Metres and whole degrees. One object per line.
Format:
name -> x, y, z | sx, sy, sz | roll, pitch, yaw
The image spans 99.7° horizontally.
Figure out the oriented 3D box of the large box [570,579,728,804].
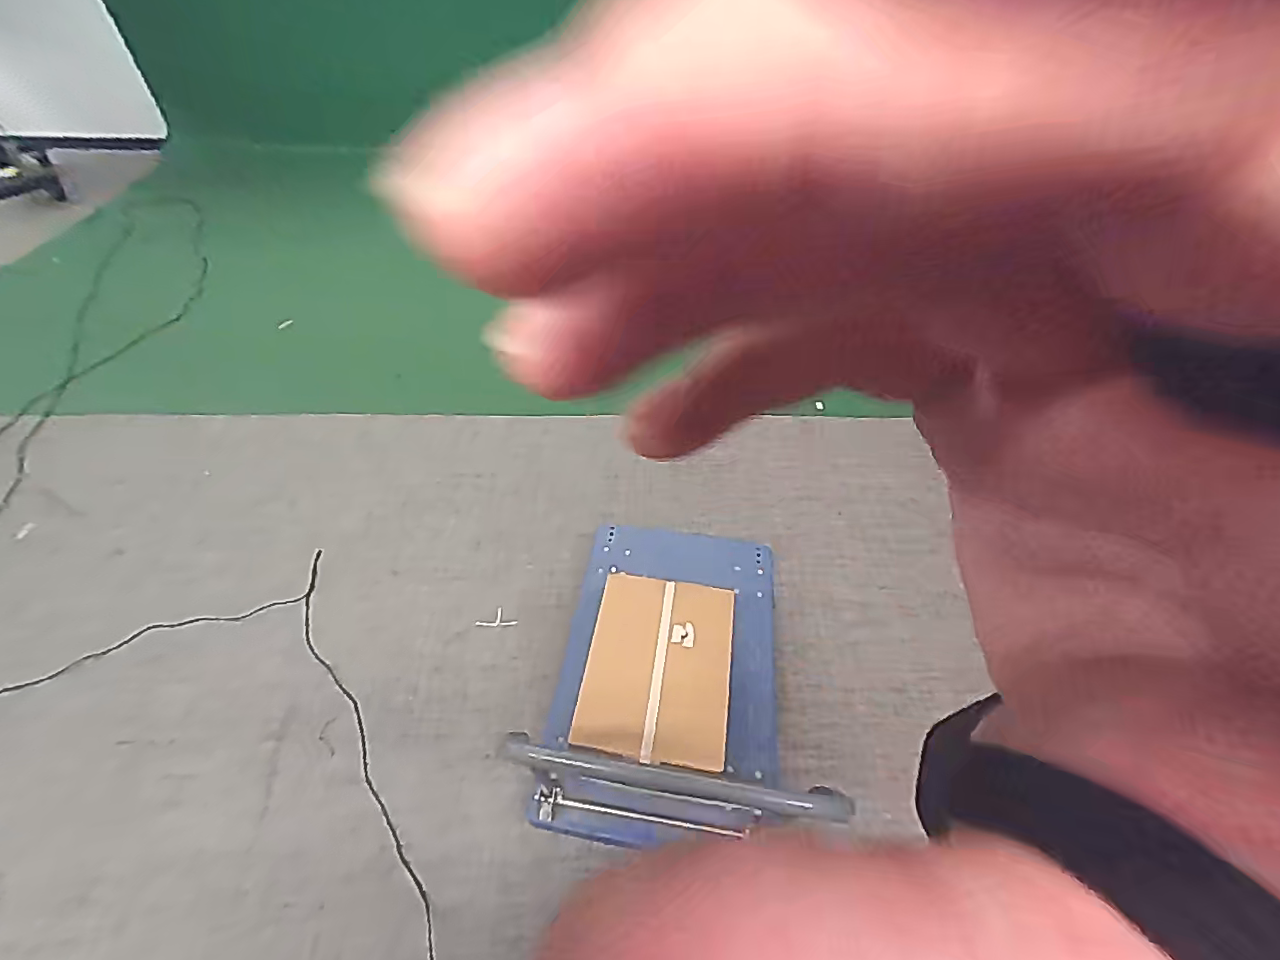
large box -> 0.034, 0.509, 1.312 | 0.320, 0.320, 0.408 | 8, 47, 5
